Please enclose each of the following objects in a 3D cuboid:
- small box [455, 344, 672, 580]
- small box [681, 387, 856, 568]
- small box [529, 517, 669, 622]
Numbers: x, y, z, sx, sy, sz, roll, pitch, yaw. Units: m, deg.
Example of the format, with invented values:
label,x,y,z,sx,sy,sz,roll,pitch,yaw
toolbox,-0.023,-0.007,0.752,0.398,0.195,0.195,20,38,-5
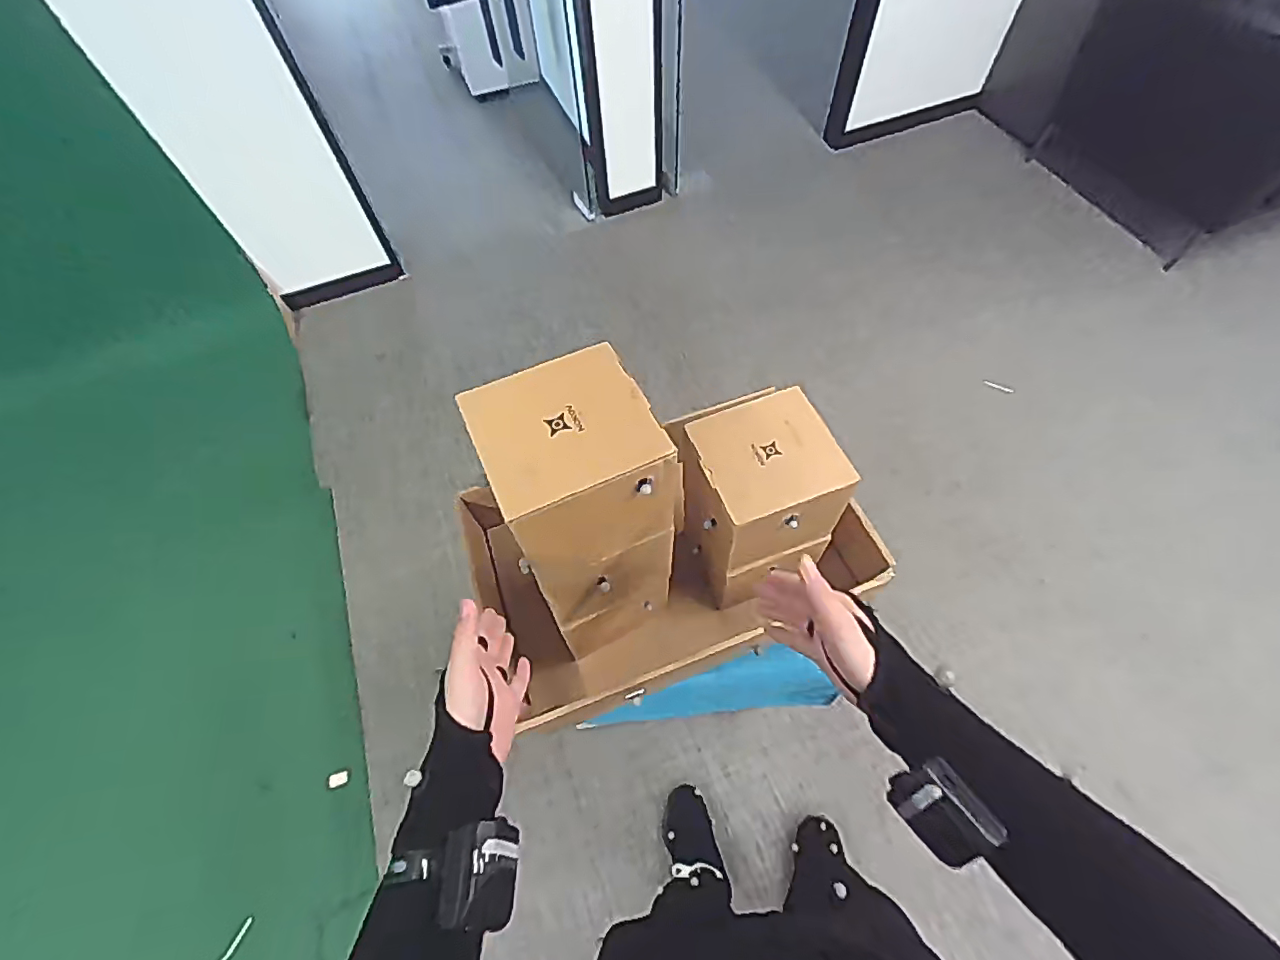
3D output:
label,x,y,z,sx,sy,sz,roll,pitch,yaw
small box,-0.077,-0.013,0.603,0.179,0.176,0.168,-23,61,-13
small box,0.169,0.004,0.766,0.179,0.176,0.168,-19,61,-7
small box,-0.070,0.071,0.742,0.179,0.176,0.168,-23,62,-11
